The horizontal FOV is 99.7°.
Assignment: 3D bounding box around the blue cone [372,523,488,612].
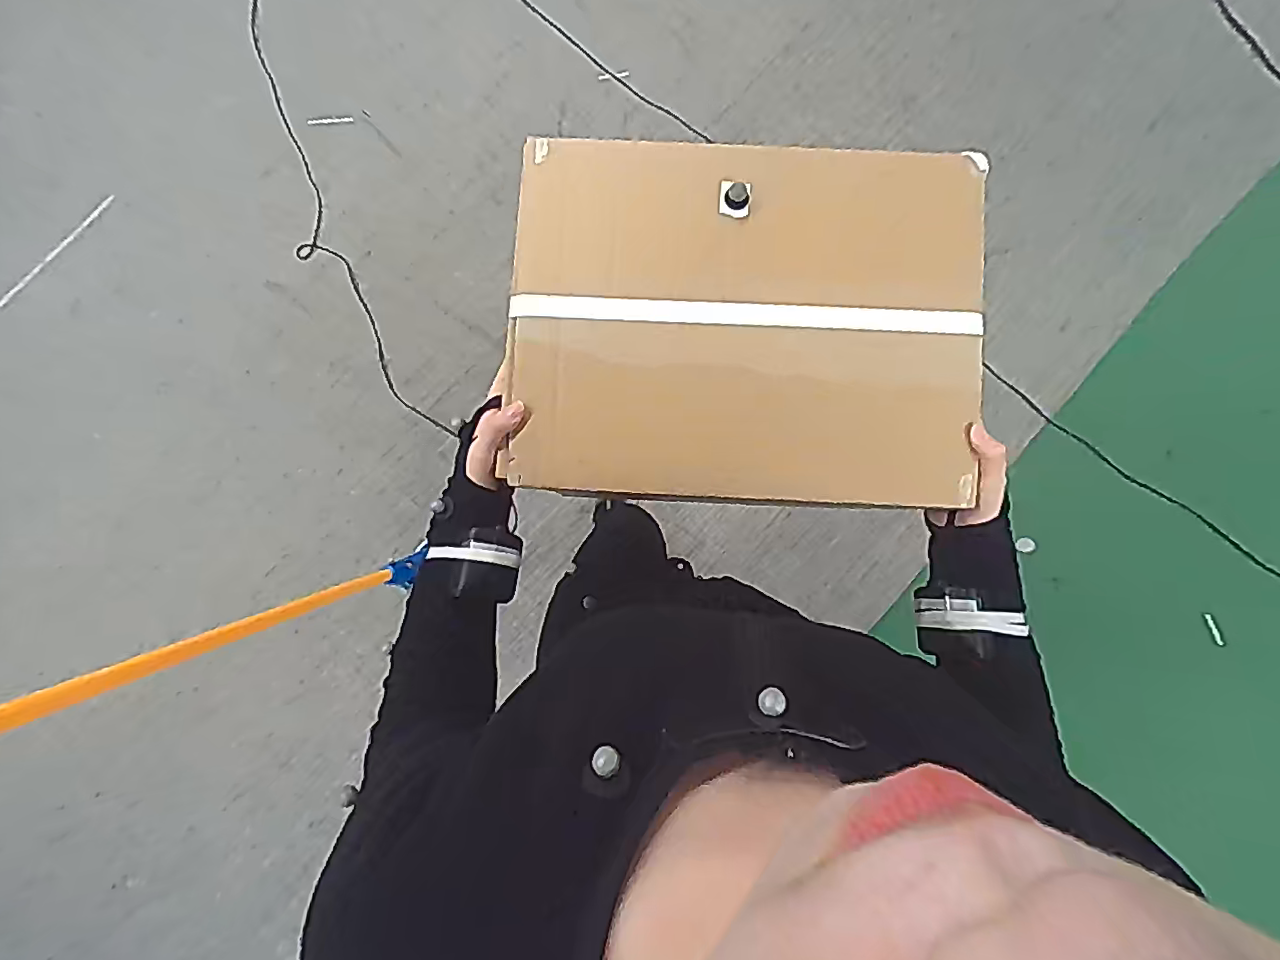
[{"bbox_3d":[-0.535,0.226,1.321,0.192,0.380,0.193,40,87,5],"label":"blue cone"}]
